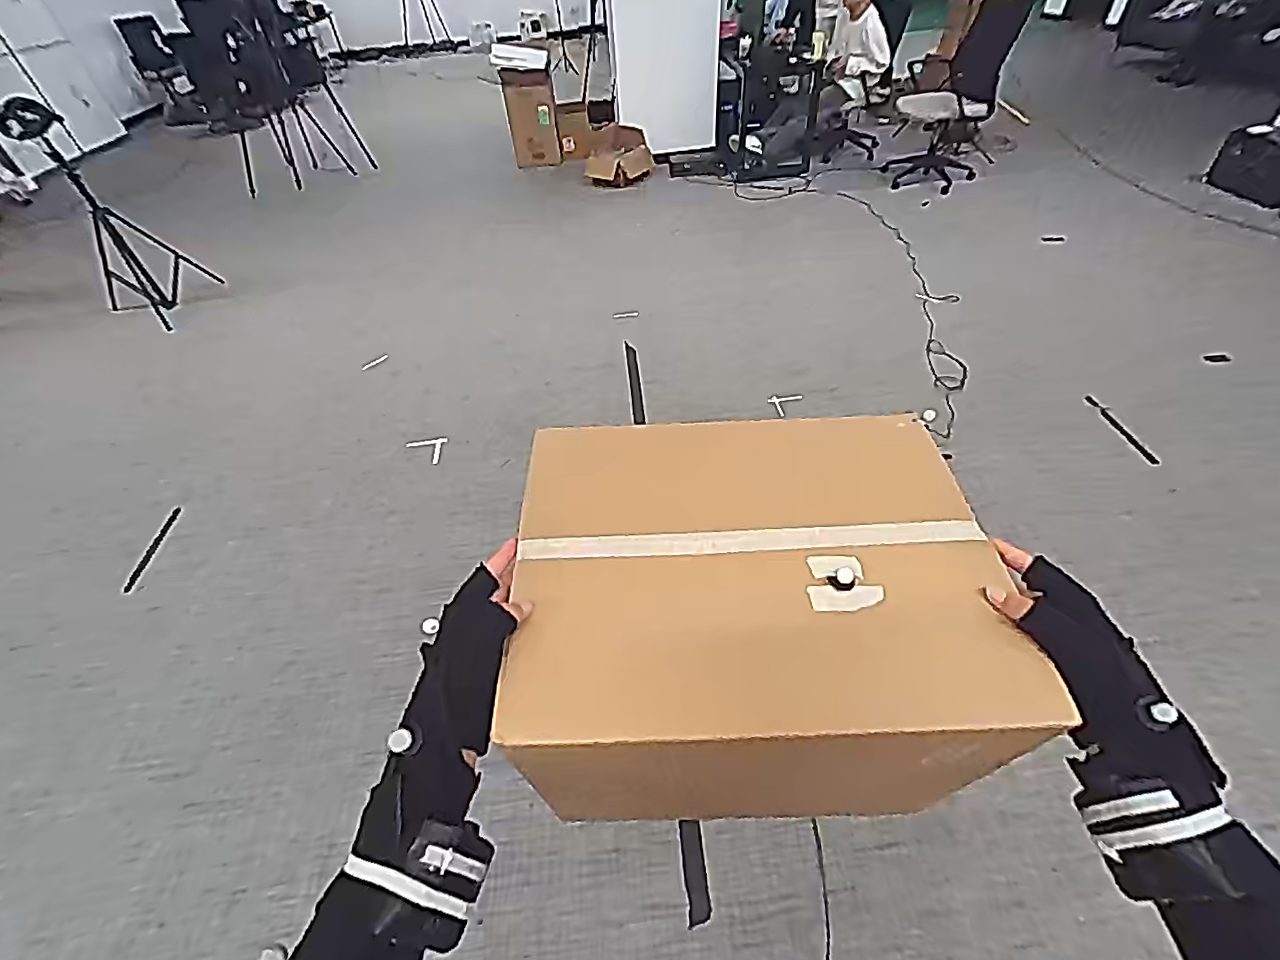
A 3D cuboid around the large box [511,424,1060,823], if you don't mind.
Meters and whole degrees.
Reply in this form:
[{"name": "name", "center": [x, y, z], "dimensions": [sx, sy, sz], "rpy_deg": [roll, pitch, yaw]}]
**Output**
[{"name": "large box", "center": [0.101, 0.160, 0.591], "dimensions": [0.408, 0.320, 0.320], "rpy_deg": [-2, 49, 0]}]
